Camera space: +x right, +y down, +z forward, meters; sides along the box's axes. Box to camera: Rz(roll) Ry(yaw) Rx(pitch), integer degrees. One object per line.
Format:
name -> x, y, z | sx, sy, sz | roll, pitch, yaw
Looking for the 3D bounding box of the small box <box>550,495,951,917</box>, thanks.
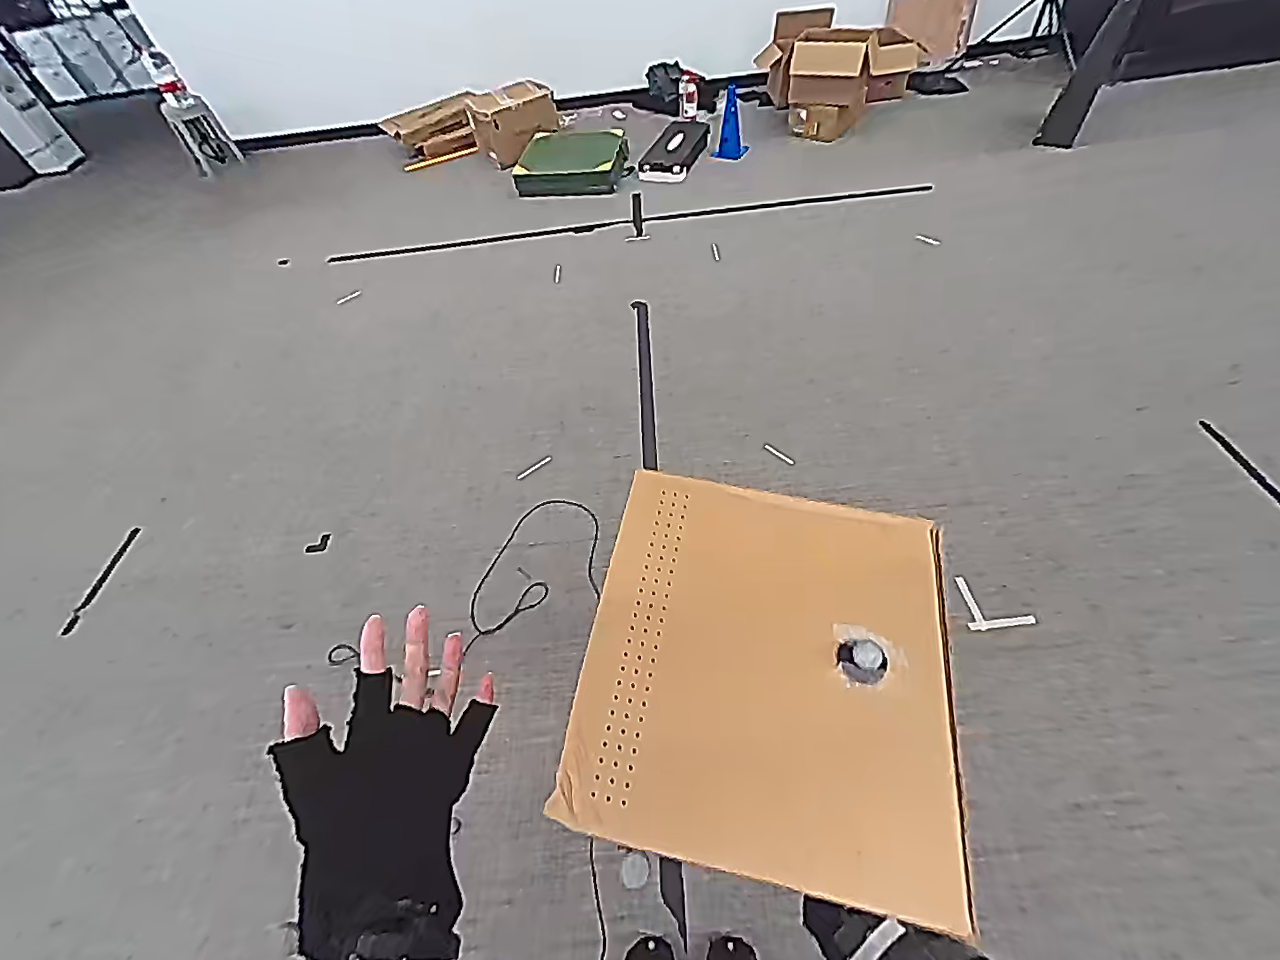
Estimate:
small box -> 0.056, 0.127, 0.328 | 0.176, 0.168, 0.179 | 9, 57, 9
